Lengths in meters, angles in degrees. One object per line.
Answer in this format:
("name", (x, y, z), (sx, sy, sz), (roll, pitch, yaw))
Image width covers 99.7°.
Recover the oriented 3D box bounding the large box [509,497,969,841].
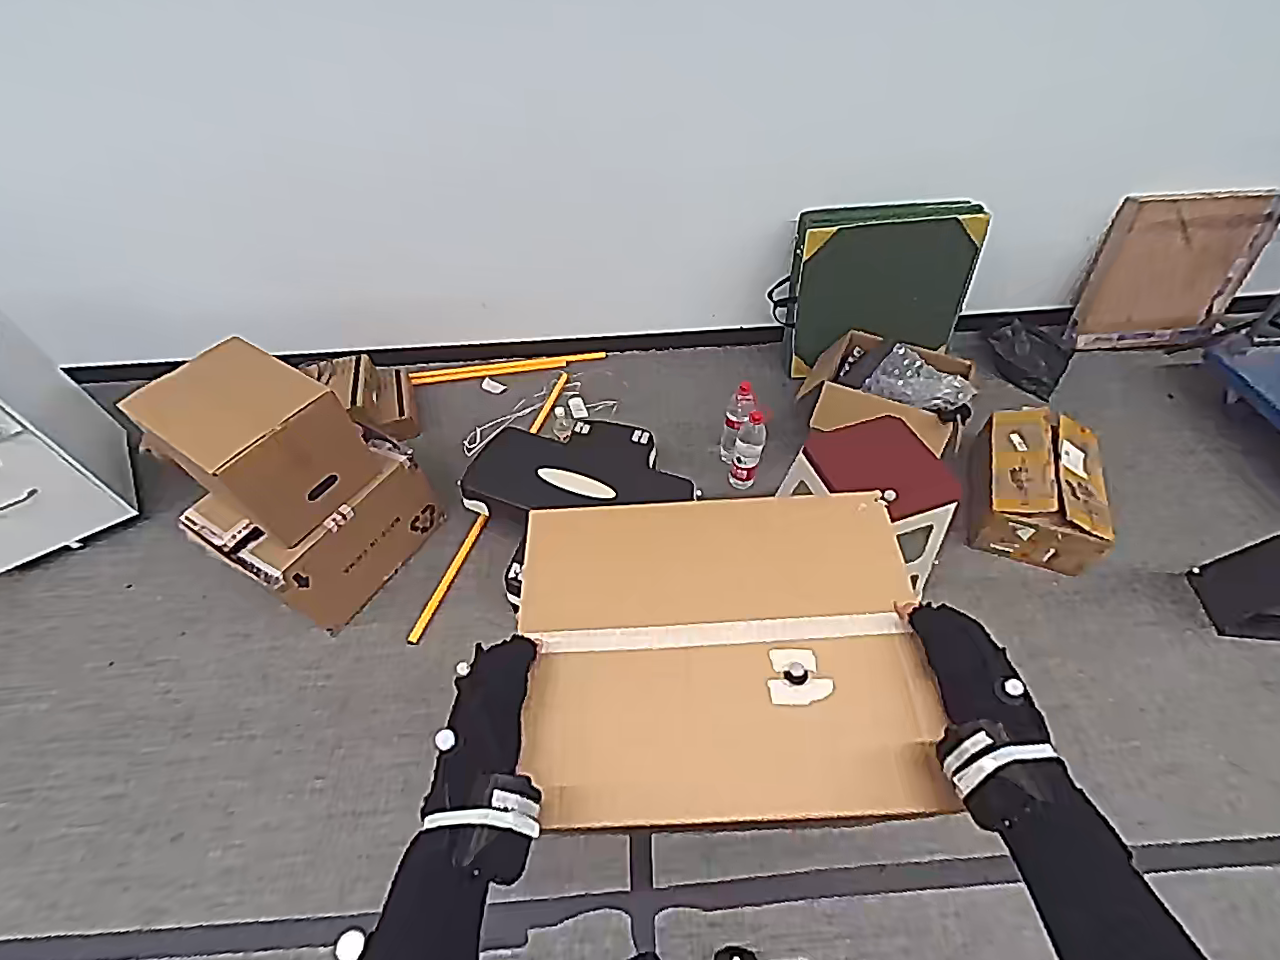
("large box", (0.082, 0.243, 0.664), (0.408, 0.320, 0.320), (-3, 56, 1))
